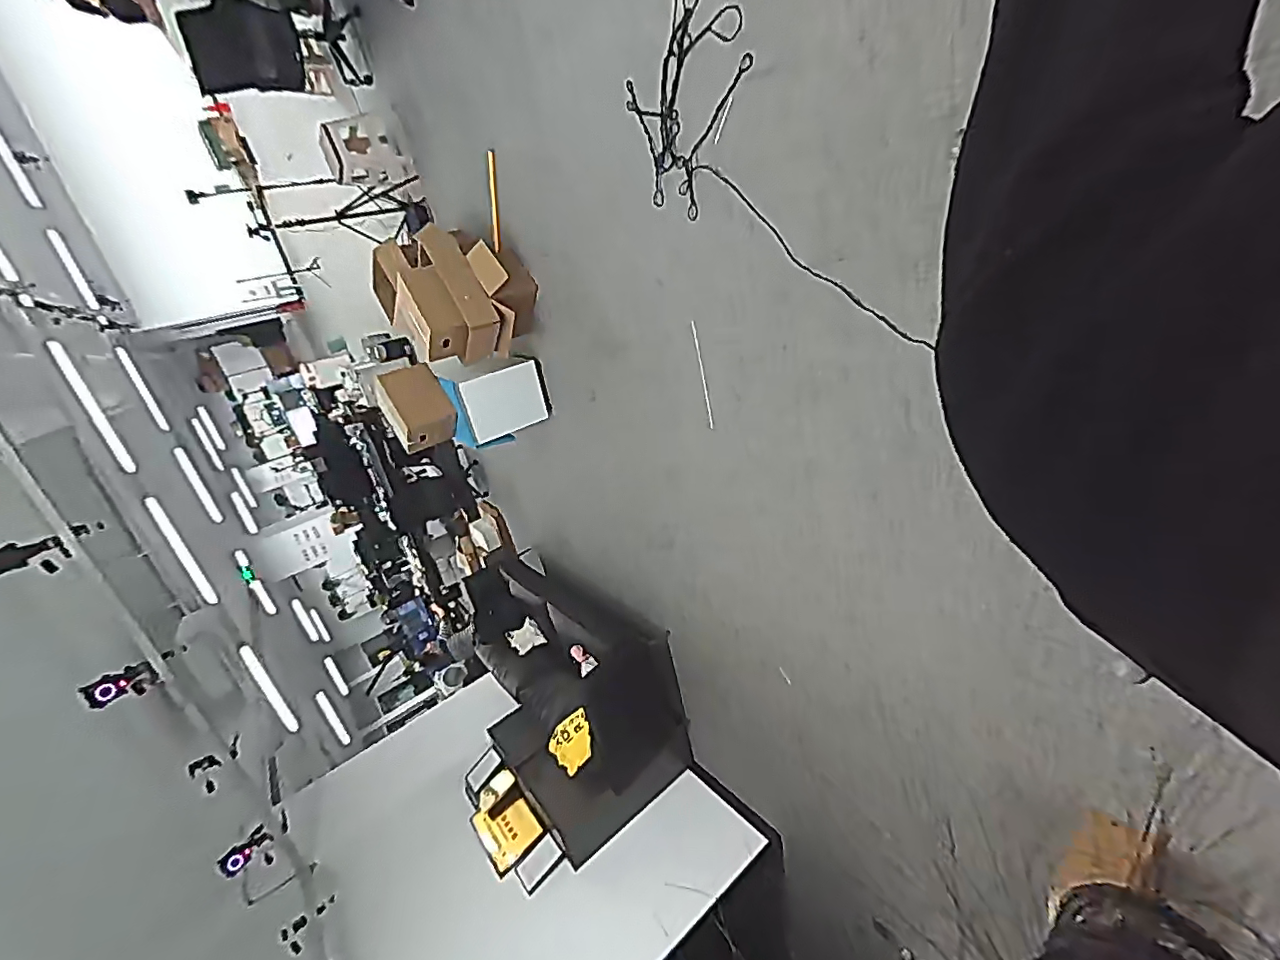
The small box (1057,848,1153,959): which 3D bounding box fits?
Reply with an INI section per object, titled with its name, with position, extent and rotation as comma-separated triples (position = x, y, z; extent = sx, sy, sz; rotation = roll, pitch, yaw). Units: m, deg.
[small box]
position = 1.302, 1.192, 1.516
extent = 0.168, 0.176, 0.179
rotation = 15, 125, 53
